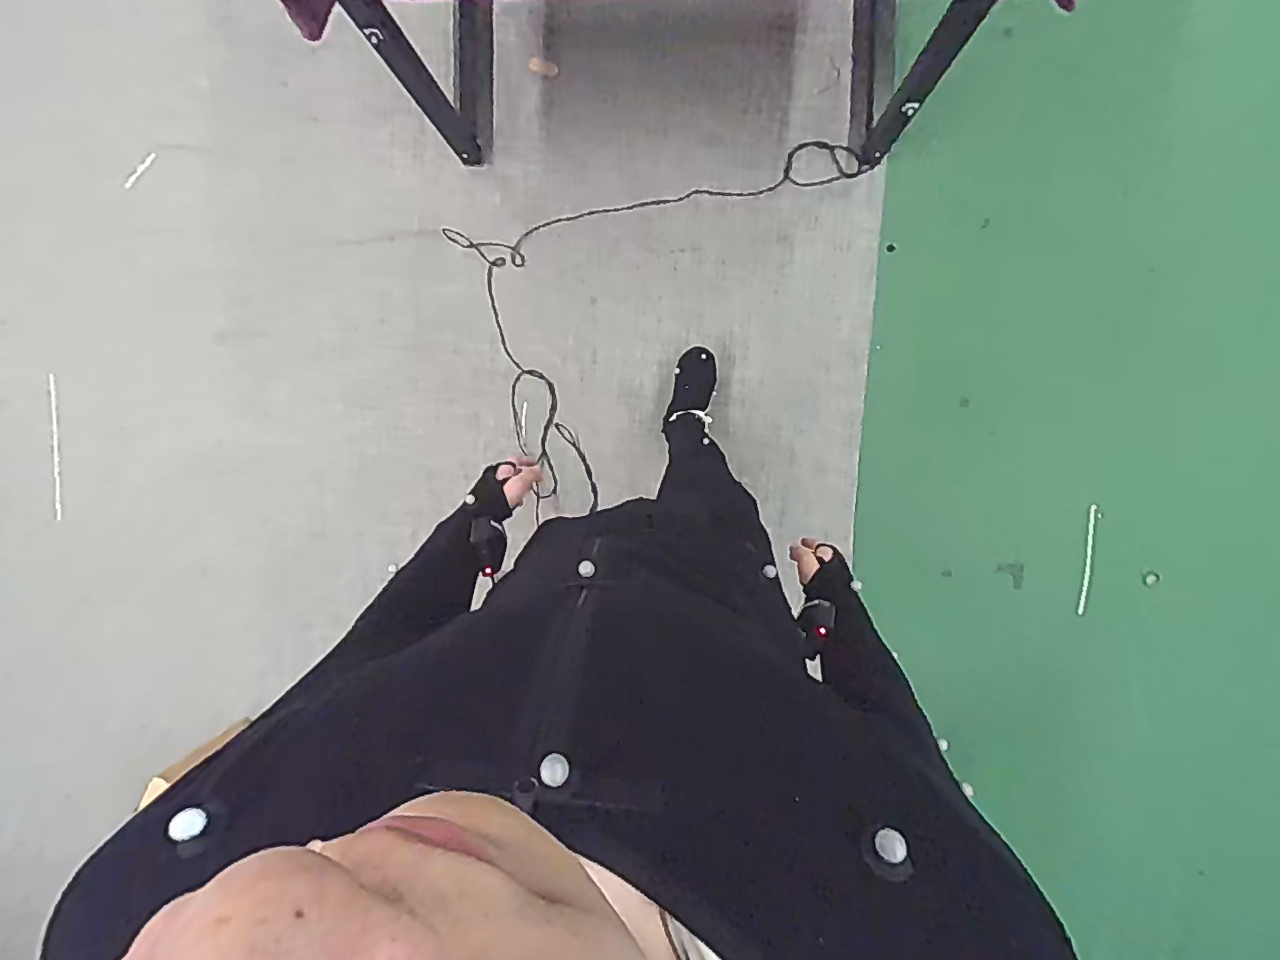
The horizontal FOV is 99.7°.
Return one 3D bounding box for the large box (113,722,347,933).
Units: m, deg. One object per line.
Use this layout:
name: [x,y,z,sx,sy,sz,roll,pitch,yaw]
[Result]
large box: [-1.190,1.005,1.608,0.408,0.320,0.320,27,96,0]
